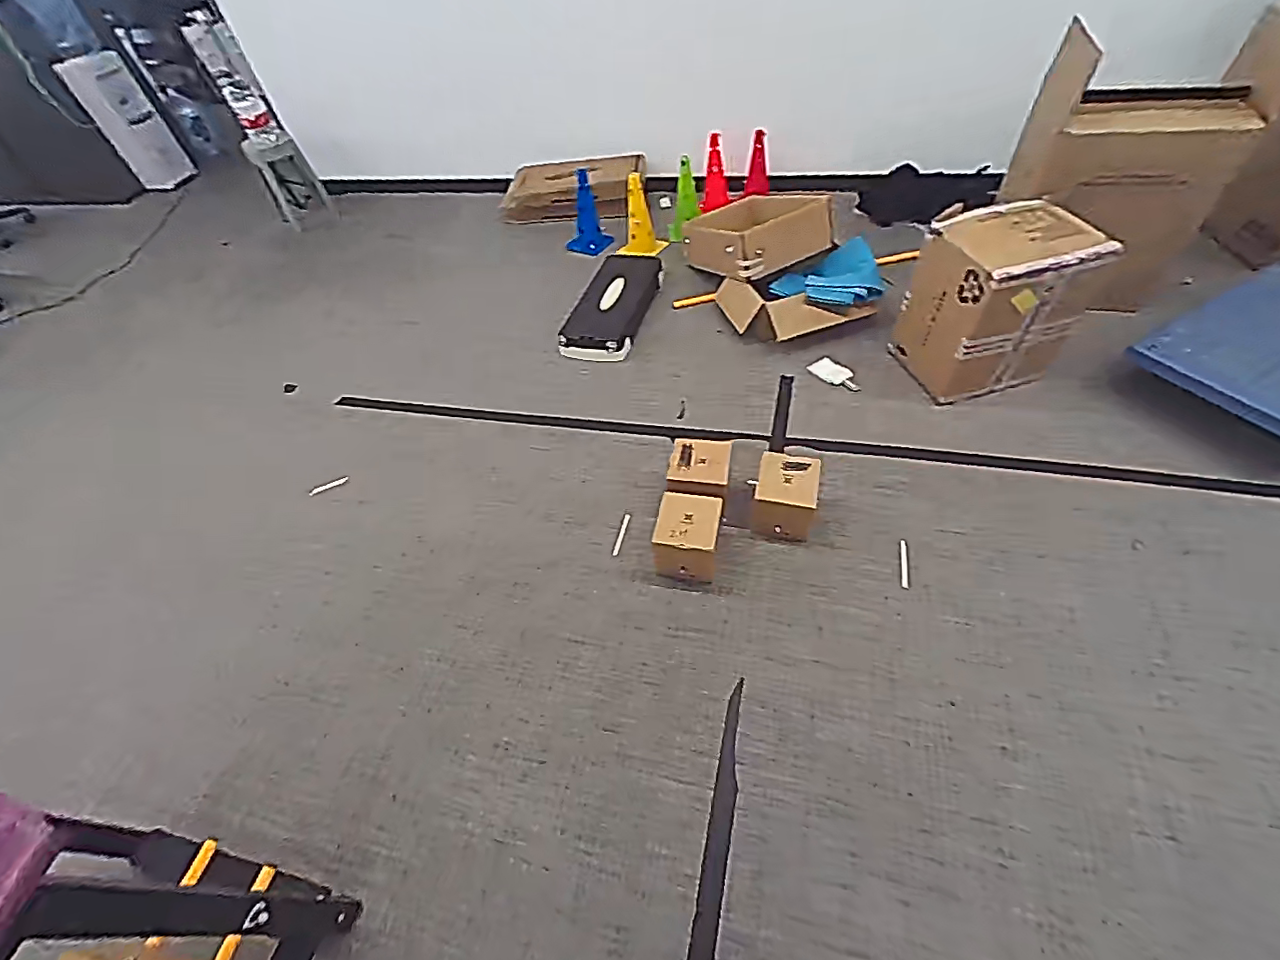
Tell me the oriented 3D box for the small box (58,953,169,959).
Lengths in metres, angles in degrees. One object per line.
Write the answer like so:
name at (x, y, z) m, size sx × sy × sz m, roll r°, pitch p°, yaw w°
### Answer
small box at (-0.878, 0.902, 0.882) m, size 0.179 × 0.176 × 0.168 m, roll 7°, pitch 53°, yaw 12°

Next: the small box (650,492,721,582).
small box at (0.131, 0.159, 1.510) m, size 0.168 × 0.176 × 0.179 m, roll 6°, pitch 52°, yaw 13°

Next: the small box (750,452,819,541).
small box at (0.414, 0.049, 1.566) m, size 0.168 × 0.176 × 0.179 m, roll 9°, pitch 53°, yaw 15°
